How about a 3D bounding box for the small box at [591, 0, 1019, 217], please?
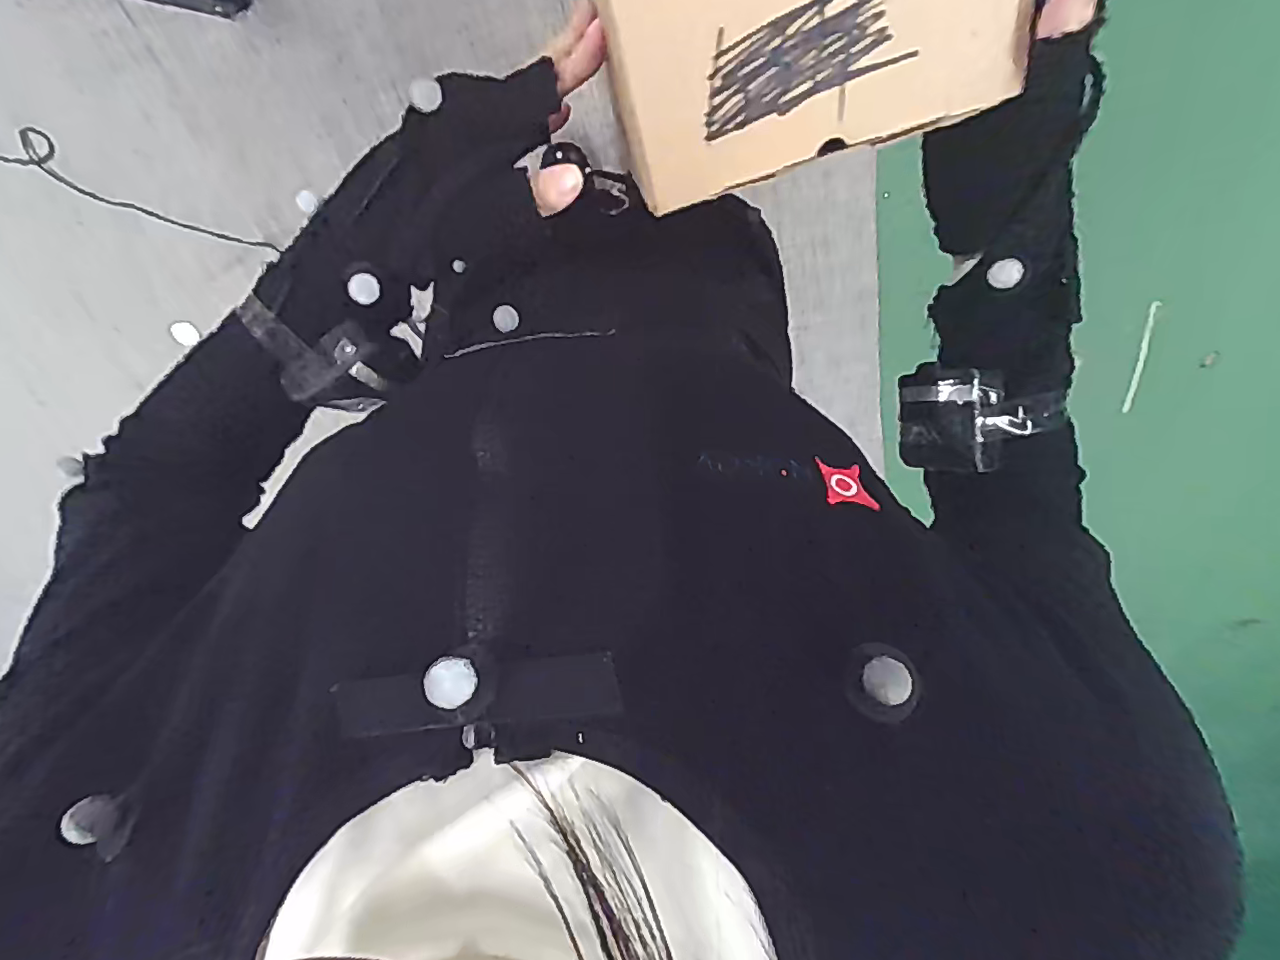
[{"bbox_3d":[0.060,-0.259,0.266,0.168,0.176,0.179,-15,127,4],"label":"small box"}]
